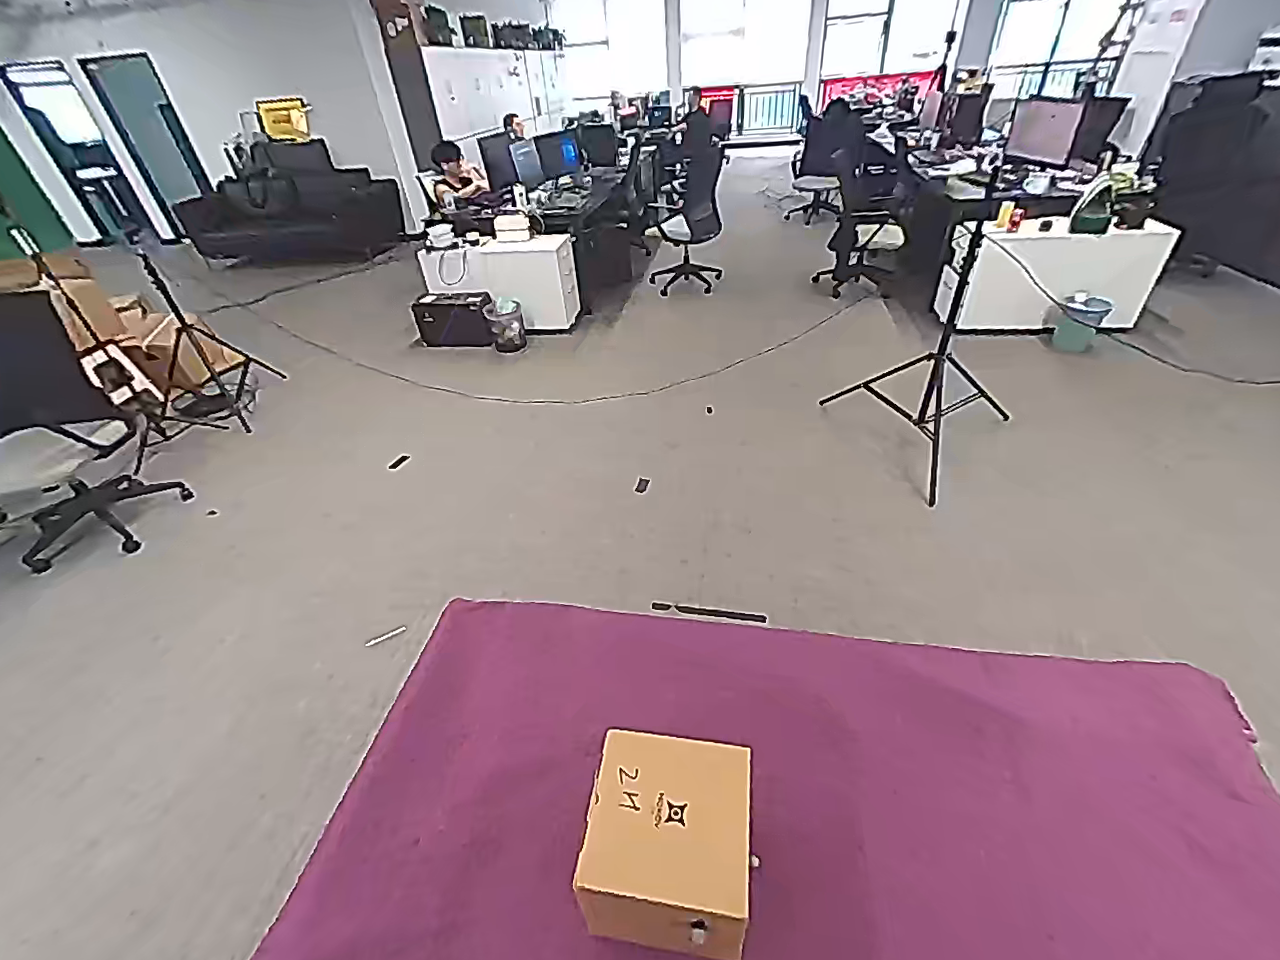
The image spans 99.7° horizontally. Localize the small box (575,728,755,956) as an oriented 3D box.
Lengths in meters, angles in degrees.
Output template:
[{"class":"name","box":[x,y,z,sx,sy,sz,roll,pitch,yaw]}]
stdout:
[{"class":"small box","box":[0.039,0.422,0.633,0.179,0.176,0.168,3,37,10]}]
